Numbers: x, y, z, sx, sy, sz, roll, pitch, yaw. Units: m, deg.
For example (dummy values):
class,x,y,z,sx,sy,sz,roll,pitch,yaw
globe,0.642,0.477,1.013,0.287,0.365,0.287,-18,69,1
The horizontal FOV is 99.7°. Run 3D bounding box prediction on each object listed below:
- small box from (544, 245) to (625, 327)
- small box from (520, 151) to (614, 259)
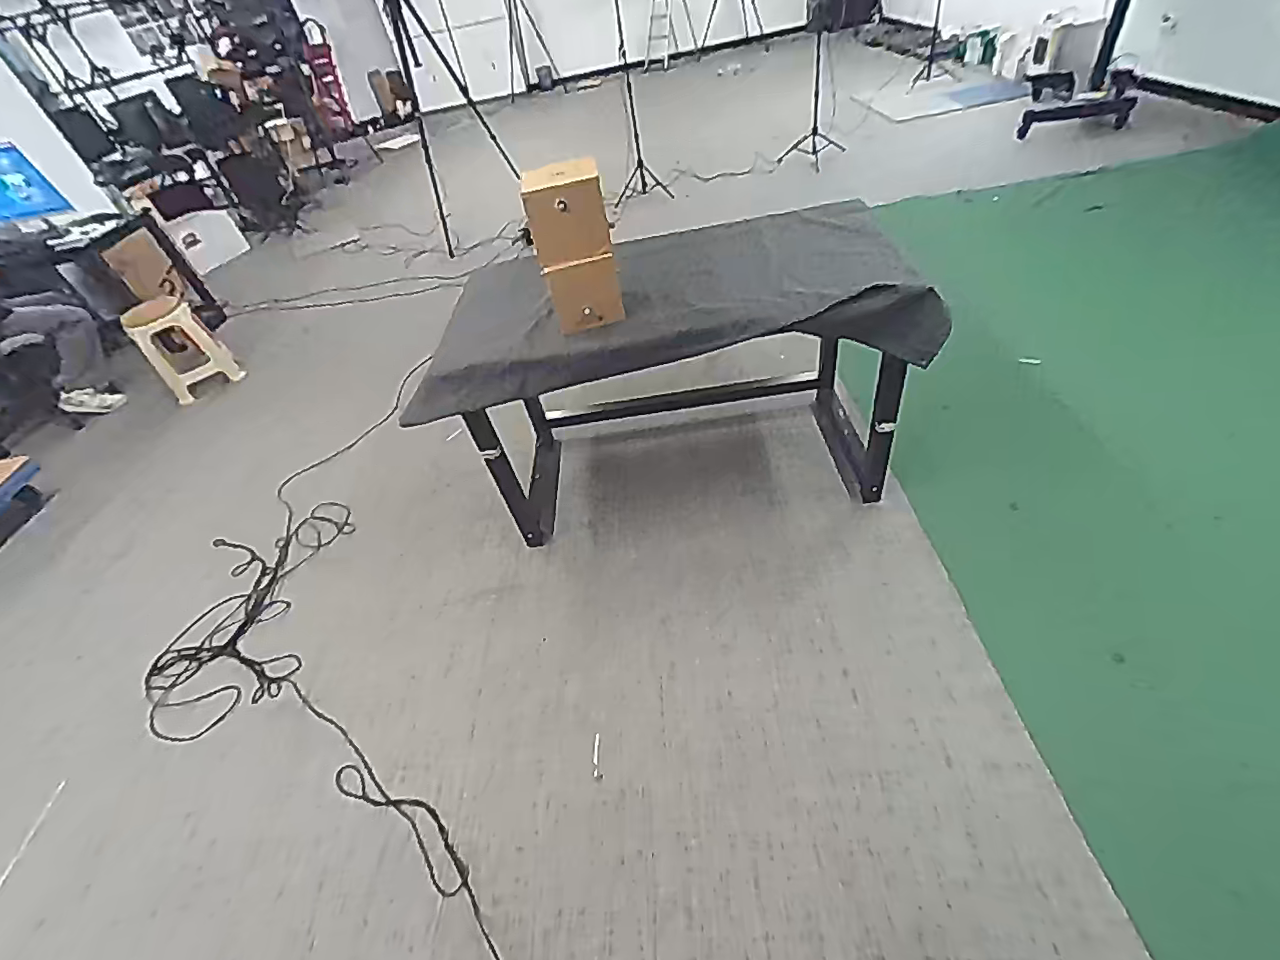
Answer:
class,x,y,z,sx,sy,sz,roll,pitch,yaw
small box,-0.142,-0.508,1.352,0.168,0.176,0.179,-15,45,-2
small box,-0.165,-0.632,1.250,0.179,0.176,0.168,-11,46,0
